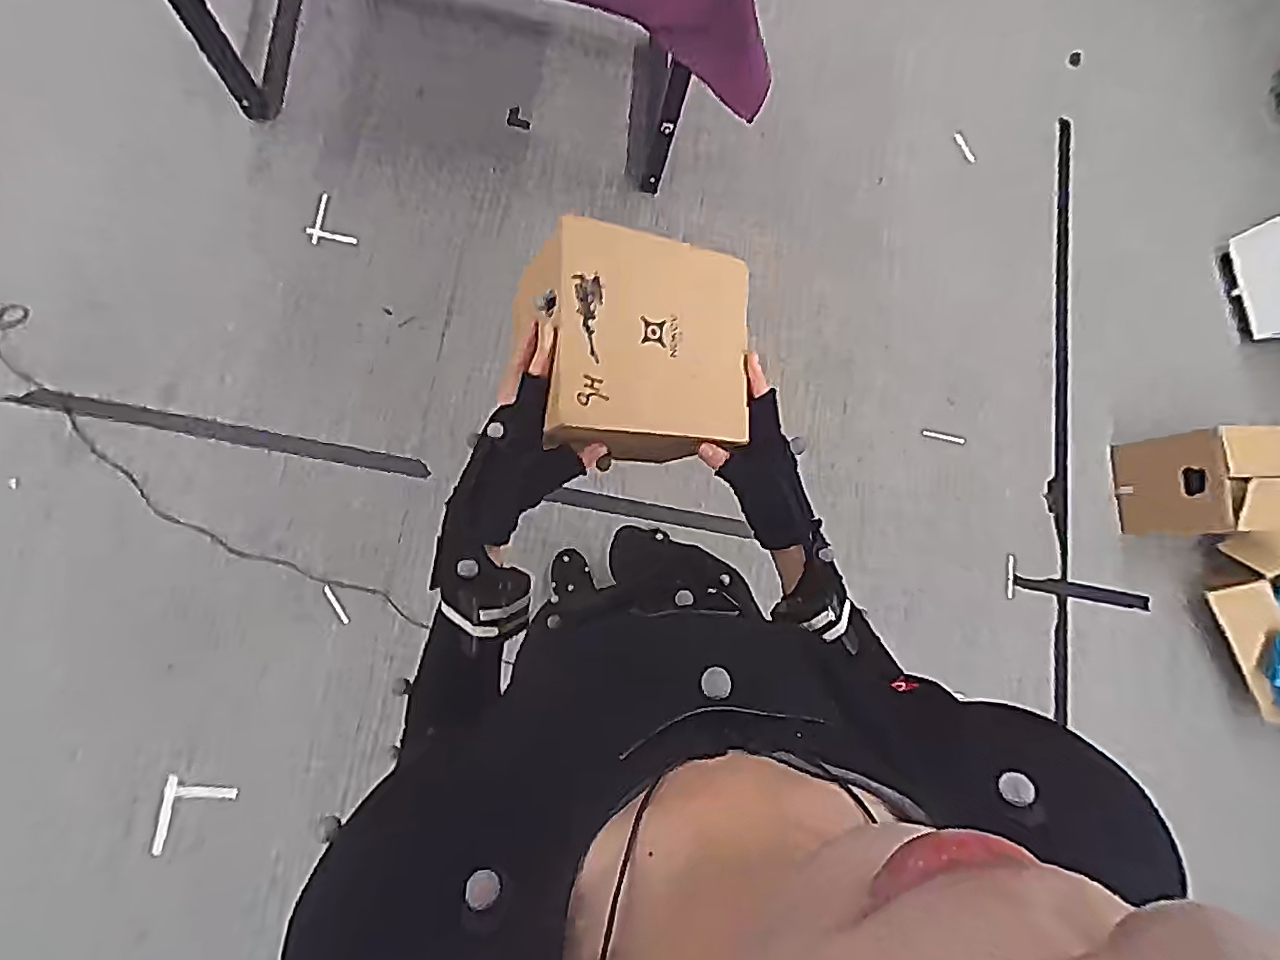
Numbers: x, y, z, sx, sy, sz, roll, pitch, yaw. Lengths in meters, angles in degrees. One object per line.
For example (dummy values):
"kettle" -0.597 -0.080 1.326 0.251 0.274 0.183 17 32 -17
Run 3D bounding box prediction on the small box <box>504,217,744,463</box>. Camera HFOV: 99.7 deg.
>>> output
"small box" -0.021 -0.110 0.514 0.179 0.176 0.168 3 83 -25
